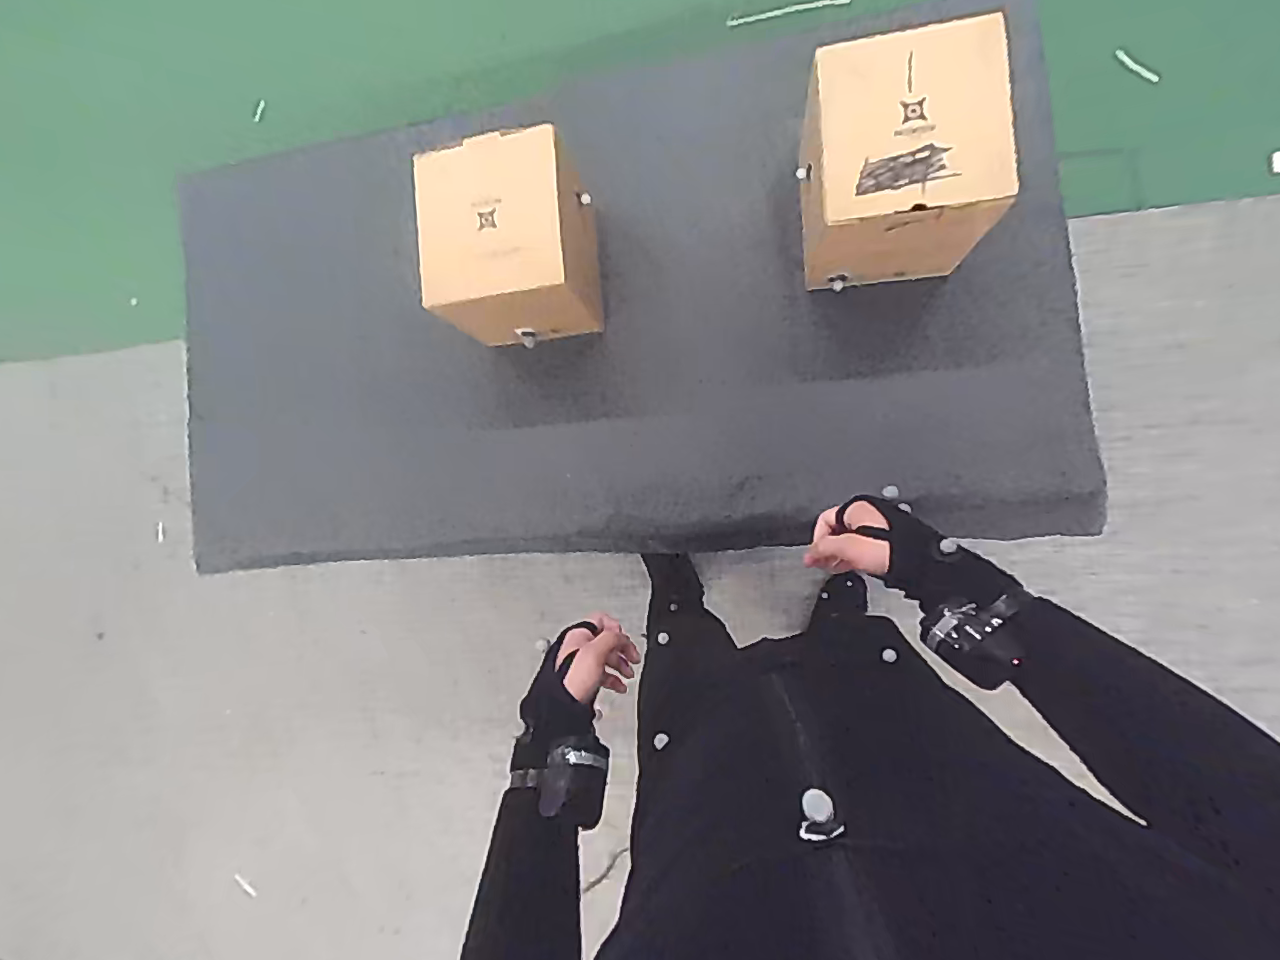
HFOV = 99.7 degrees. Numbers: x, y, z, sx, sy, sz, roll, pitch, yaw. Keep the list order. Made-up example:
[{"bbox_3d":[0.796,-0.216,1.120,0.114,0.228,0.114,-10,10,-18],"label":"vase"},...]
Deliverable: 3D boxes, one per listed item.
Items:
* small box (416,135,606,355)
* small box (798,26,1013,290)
[{"bbox_3d":[-0.145,-0.267,0.655,0.168,0.176,0.179,-6,87,11],"label":"small box"},{"bbox_3d":[0.265,-0.319,0.579,0.168,0.176,0.179,-3,86,10],"label":"small box"}]
